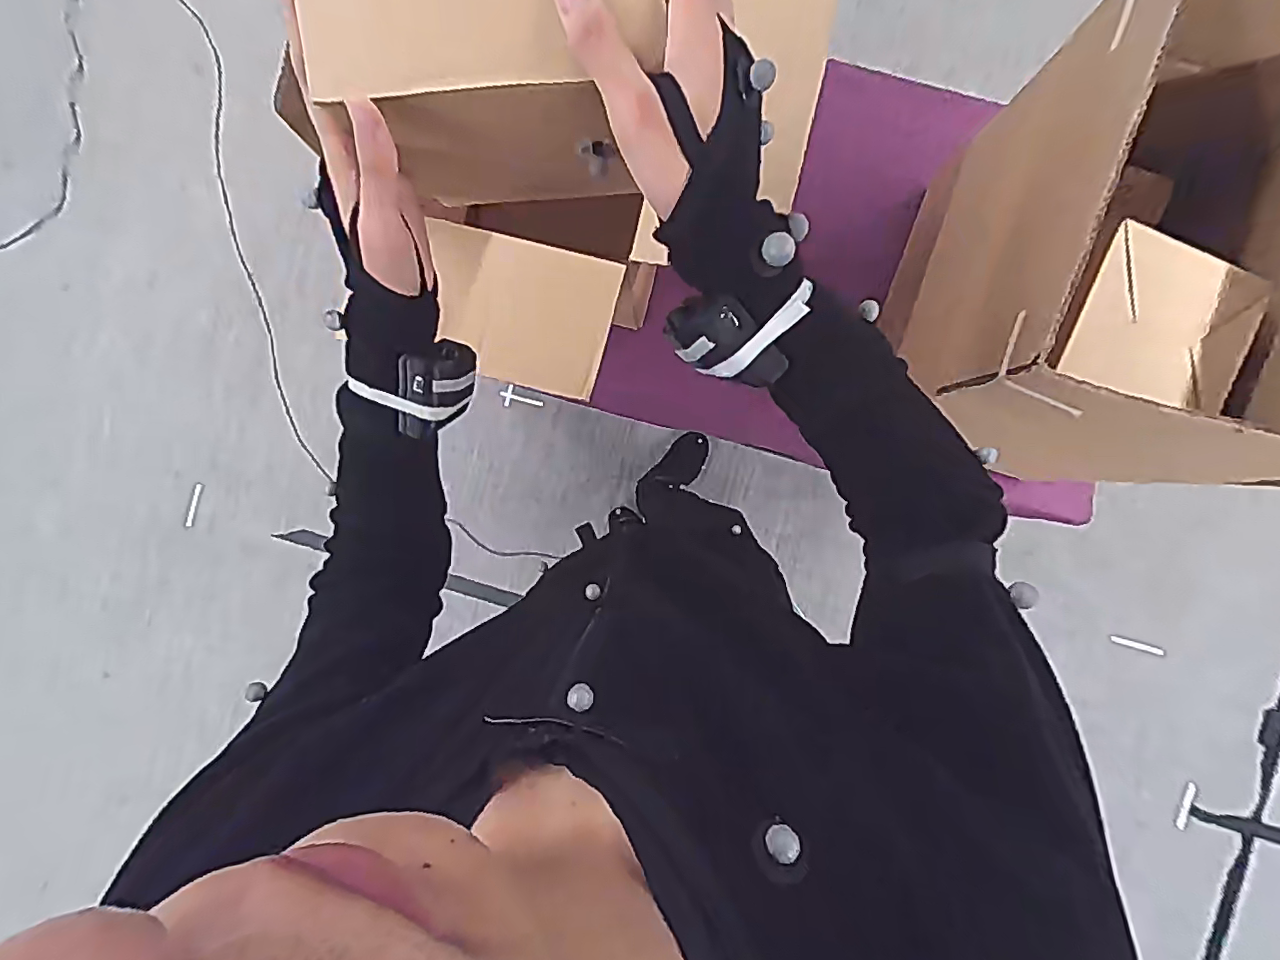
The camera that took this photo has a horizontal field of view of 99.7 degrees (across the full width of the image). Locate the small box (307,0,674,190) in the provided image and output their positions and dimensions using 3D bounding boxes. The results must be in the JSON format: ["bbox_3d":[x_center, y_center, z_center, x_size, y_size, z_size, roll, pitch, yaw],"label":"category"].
[{"bbox_3d":[-0.072,-0.291,0.324,0.179,0.176,0.168,-2,101,3],"label":"small box"}]
